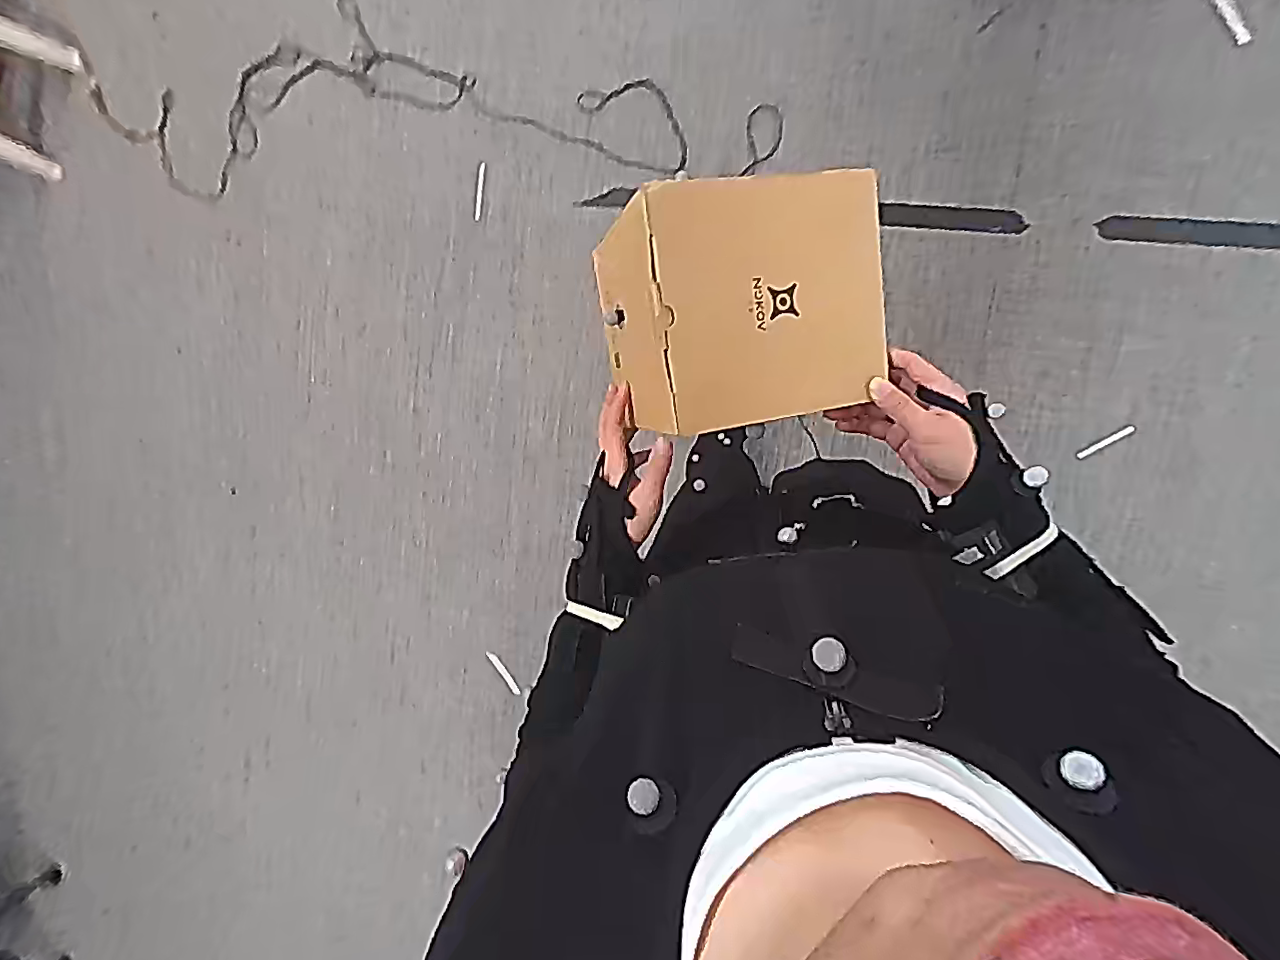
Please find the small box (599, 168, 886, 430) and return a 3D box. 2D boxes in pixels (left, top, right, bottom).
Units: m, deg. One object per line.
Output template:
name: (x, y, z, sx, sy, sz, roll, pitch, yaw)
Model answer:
small box: (0.076, -0.142, 0.457, 0.179, 0.176, 0.168, -12, 102, -13)
